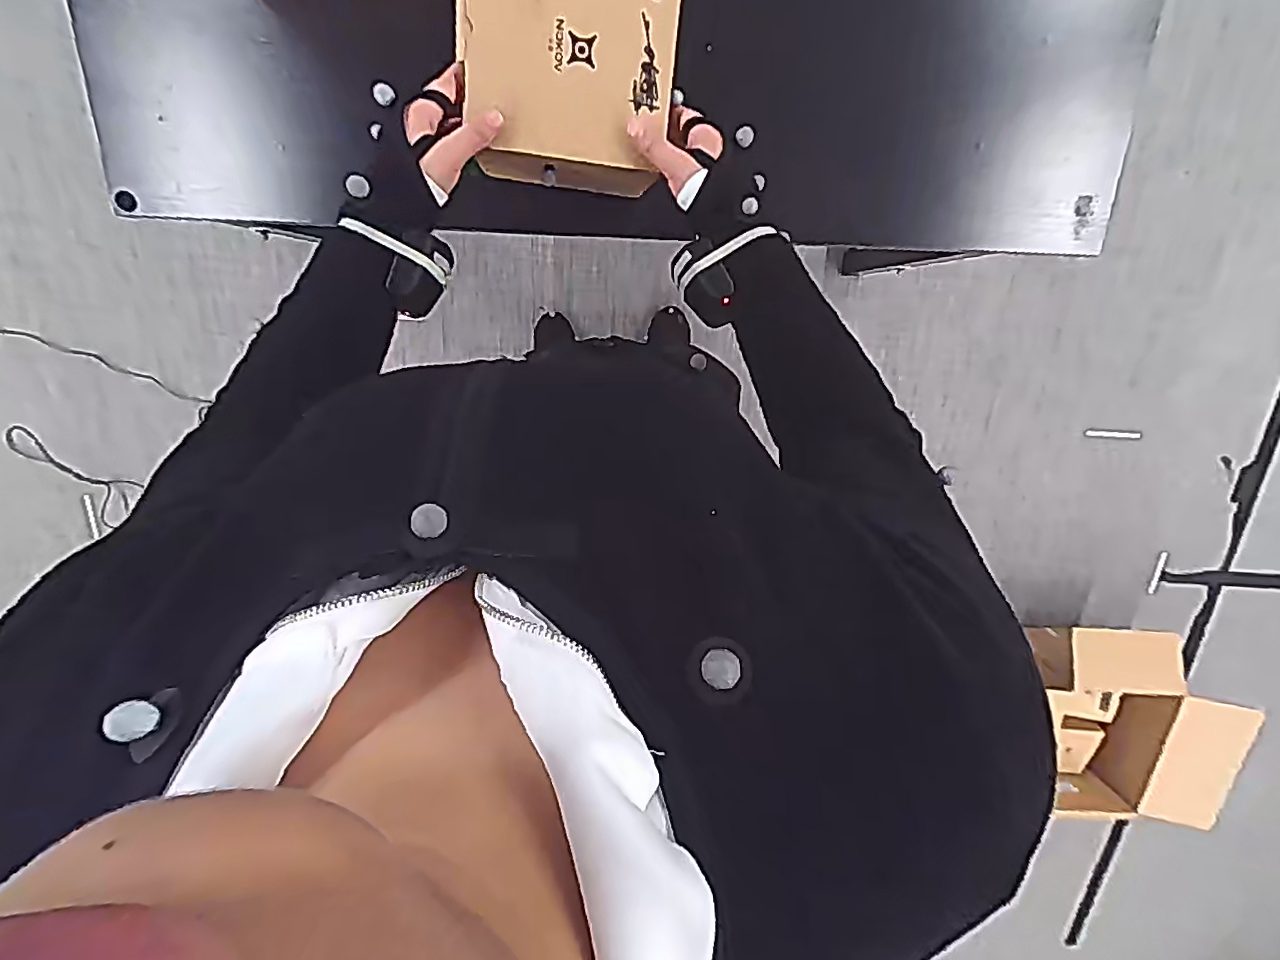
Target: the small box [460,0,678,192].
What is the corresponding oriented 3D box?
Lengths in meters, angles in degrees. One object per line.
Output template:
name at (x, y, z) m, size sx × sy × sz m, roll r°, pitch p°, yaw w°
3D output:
small box at (-0.068, -0.388, 0.521) m, size 0.179 × 0.176 × 0.168 m, roll 3°, pitch 111°, yaw -9°
